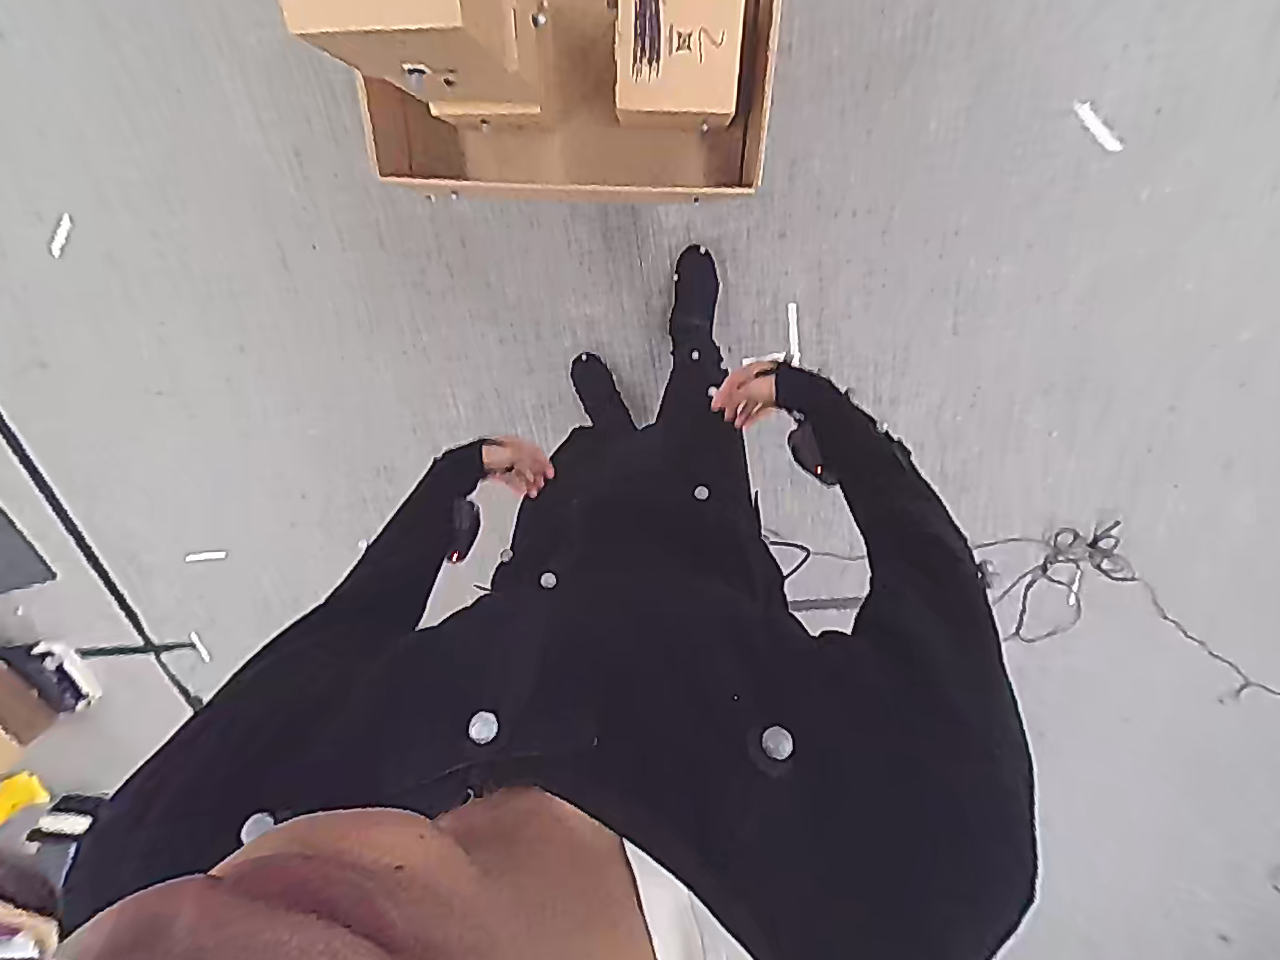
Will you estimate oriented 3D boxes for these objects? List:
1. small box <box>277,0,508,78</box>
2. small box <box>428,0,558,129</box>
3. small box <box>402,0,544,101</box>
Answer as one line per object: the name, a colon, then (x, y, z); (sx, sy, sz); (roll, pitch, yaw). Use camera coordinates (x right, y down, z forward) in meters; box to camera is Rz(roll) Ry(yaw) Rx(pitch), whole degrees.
small box: (-0.235, -0.517, 0.519); (0.168, 0.176, 0.179); (1, 114, 3)
small box: (-0.222, -0.647, 0.821); (0.168, 0.176, 0.179); (1, 114, 1)
small box: (-0.224, -0.586, 0.668); (0.179, 0.176, 0.168); (2, 115, 1)
